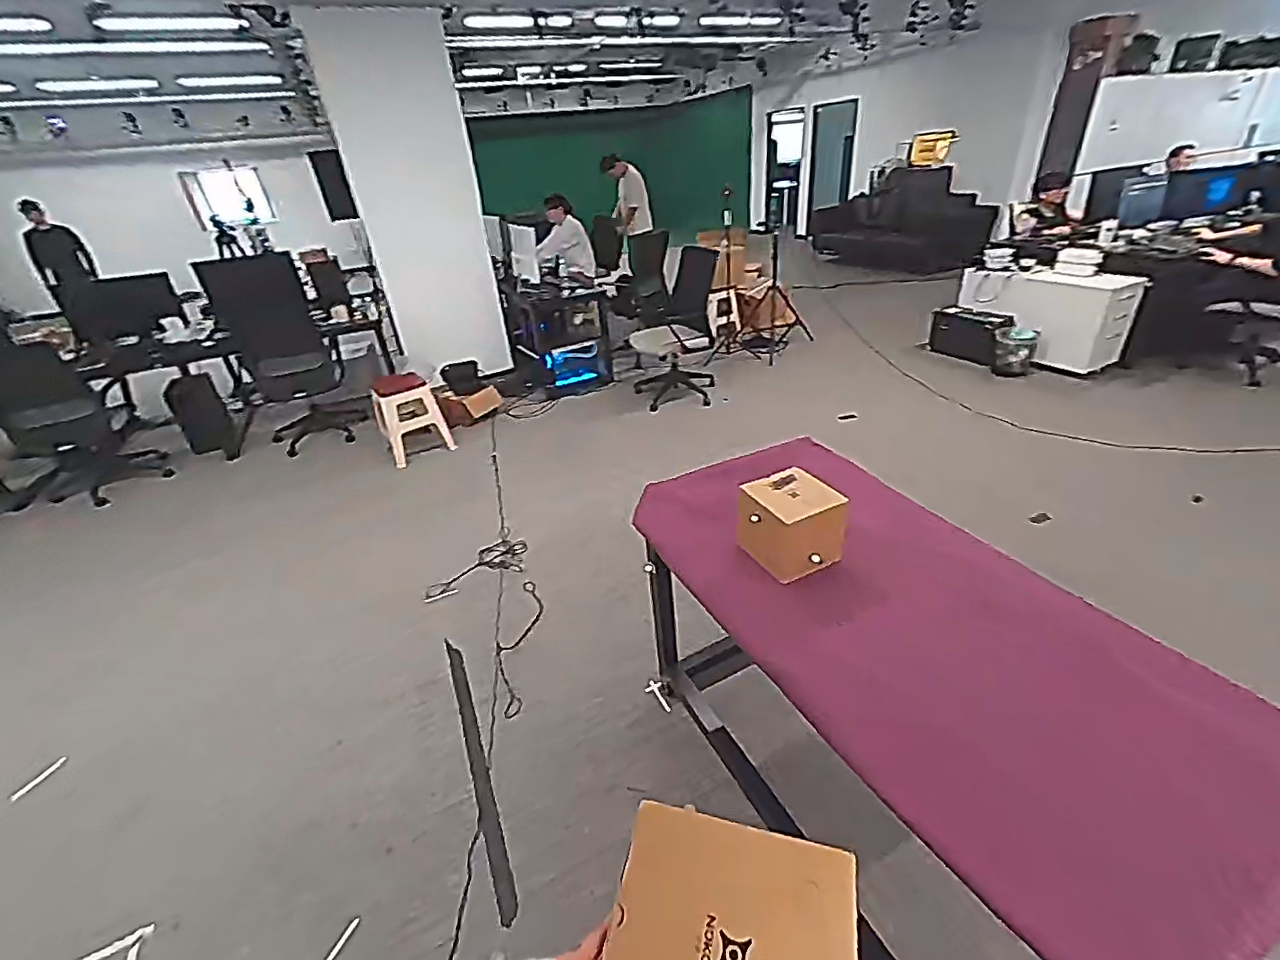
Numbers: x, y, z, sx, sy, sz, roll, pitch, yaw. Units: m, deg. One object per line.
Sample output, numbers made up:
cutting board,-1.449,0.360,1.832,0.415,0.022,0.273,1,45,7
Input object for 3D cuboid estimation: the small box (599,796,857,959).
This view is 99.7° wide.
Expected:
small box,0.070,0.389,0.433,0.179,0.176,0.168,4,41,16

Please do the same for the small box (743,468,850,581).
small box,0.346,0.099,1.231,0.168,0.176,0.179,-18,34,-19
